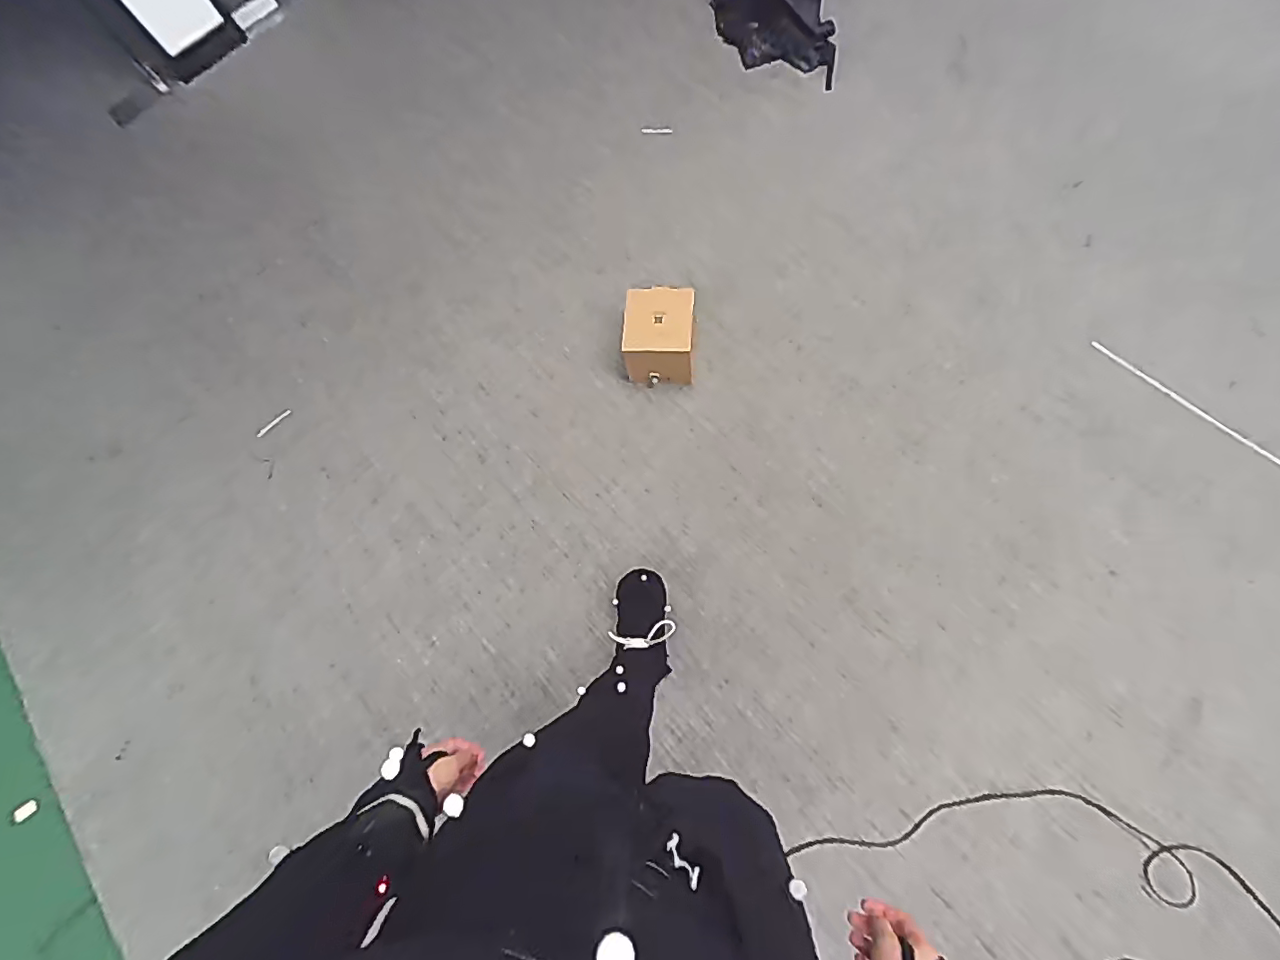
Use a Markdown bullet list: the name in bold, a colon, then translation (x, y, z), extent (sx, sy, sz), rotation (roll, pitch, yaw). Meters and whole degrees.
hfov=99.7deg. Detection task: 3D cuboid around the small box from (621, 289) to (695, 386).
- **small box**: translation (0.050, -0.352, 1.346), extent (0.168, 0.176, 0.179), rotation (2, 73, 8)
